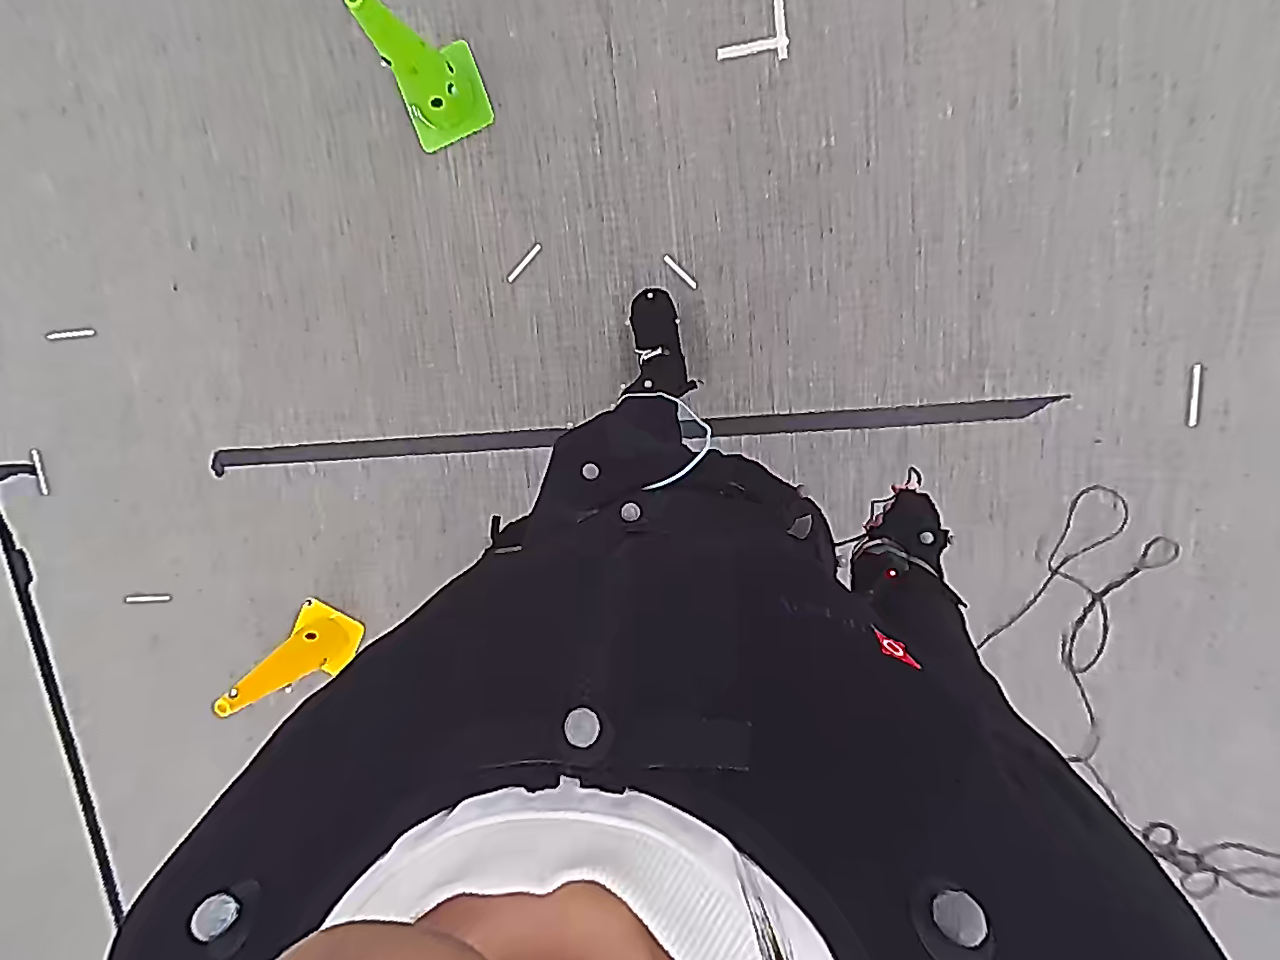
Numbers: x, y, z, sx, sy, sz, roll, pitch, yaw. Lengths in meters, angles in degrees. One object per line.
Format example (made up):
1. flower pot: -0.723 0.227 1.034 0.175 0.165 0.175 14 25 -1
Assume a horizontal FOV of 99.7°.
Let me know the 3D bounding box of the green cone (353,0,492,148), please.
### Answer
1. green cone: -0.494 -0.908 1.144 0.202 0.368 0.200 -20 97 9
